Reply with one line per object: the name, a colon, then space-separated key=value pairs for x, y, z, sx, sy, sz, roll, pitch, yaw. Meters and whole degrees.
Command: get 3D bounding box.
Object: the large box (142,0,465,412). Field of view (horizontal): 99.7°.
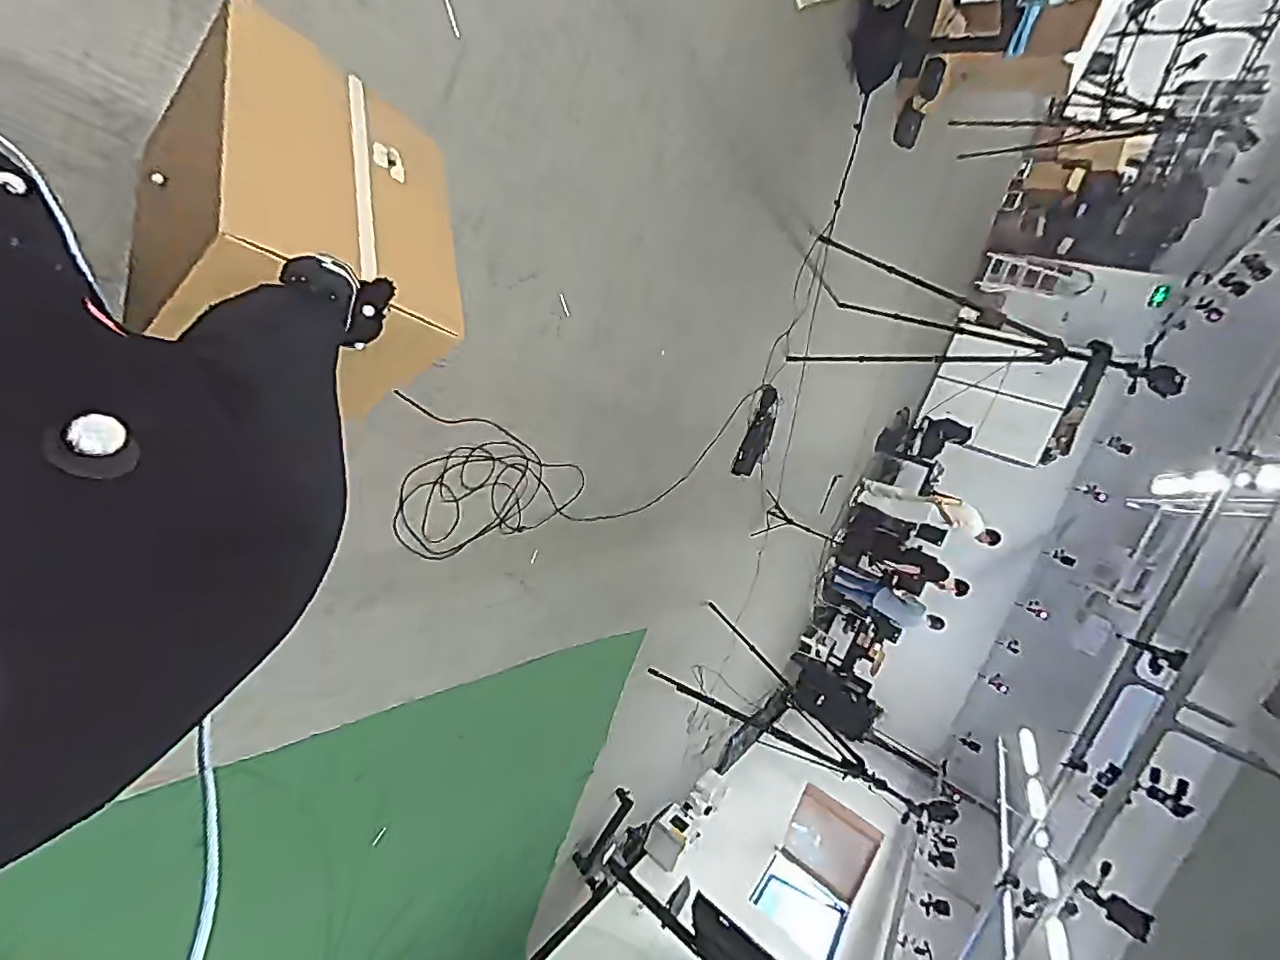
large box: x=-0.512 y=-0.369 z=0.833 sx=0.320 sy=0.320 sz=0.408 roll=15 pitch=57 yaw=-55
